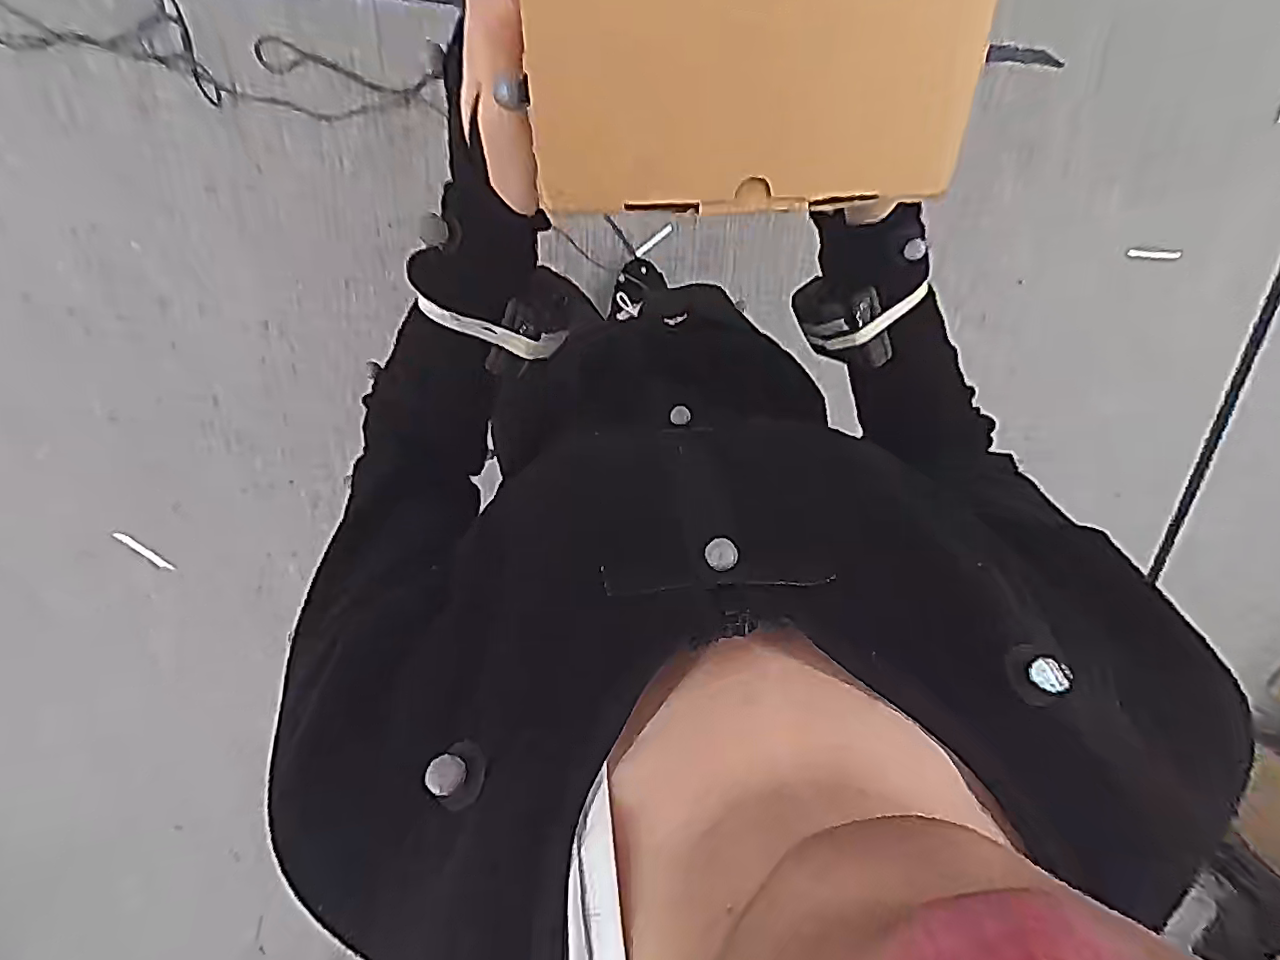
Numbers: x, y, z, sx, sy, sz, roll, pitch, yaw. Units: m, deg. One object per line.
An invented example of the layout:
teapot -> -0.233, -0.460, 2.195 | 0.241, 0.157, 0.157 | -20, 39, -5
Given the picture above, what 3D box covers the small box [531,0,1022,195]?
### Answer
small box -> 0.036, -0.227, 0.223 | 0.168, 0.176, 0.179 | -6, 125, -5
